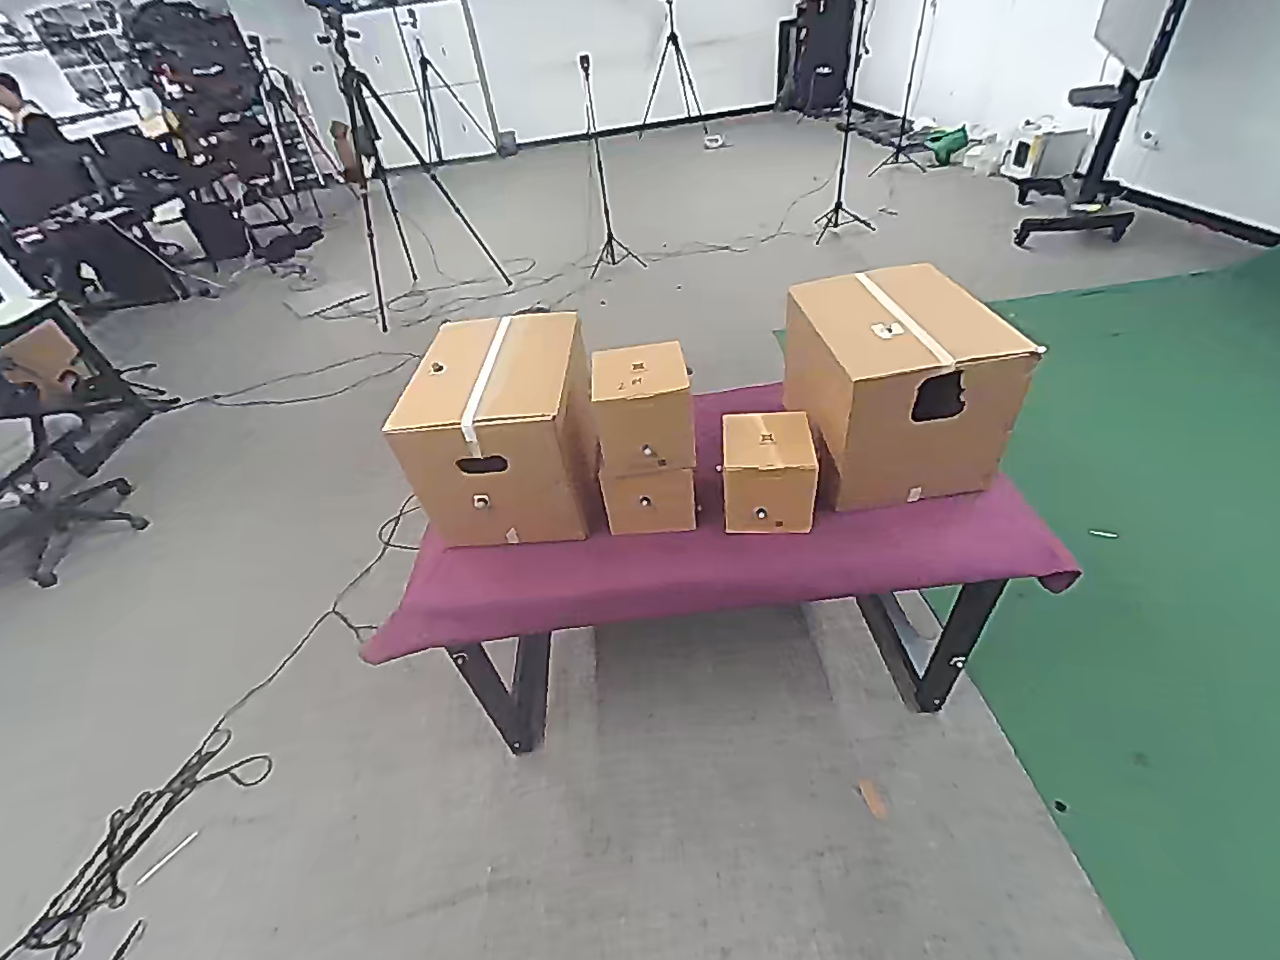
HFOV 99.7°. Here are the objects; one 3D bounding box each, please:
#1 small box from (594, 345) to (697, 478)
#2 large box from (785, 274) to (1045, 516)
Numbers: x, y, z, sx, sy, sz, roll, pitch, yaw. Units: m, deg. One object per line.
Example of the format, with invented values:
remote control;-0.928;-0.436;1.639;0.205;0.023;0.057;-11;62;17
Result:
small box;0.011;-0.127;0.999;0.168;0.176;0.179;-7;41;3
large box;0.514;-0.186;1.128;0.320;0.320;0.408;-9;41;3
